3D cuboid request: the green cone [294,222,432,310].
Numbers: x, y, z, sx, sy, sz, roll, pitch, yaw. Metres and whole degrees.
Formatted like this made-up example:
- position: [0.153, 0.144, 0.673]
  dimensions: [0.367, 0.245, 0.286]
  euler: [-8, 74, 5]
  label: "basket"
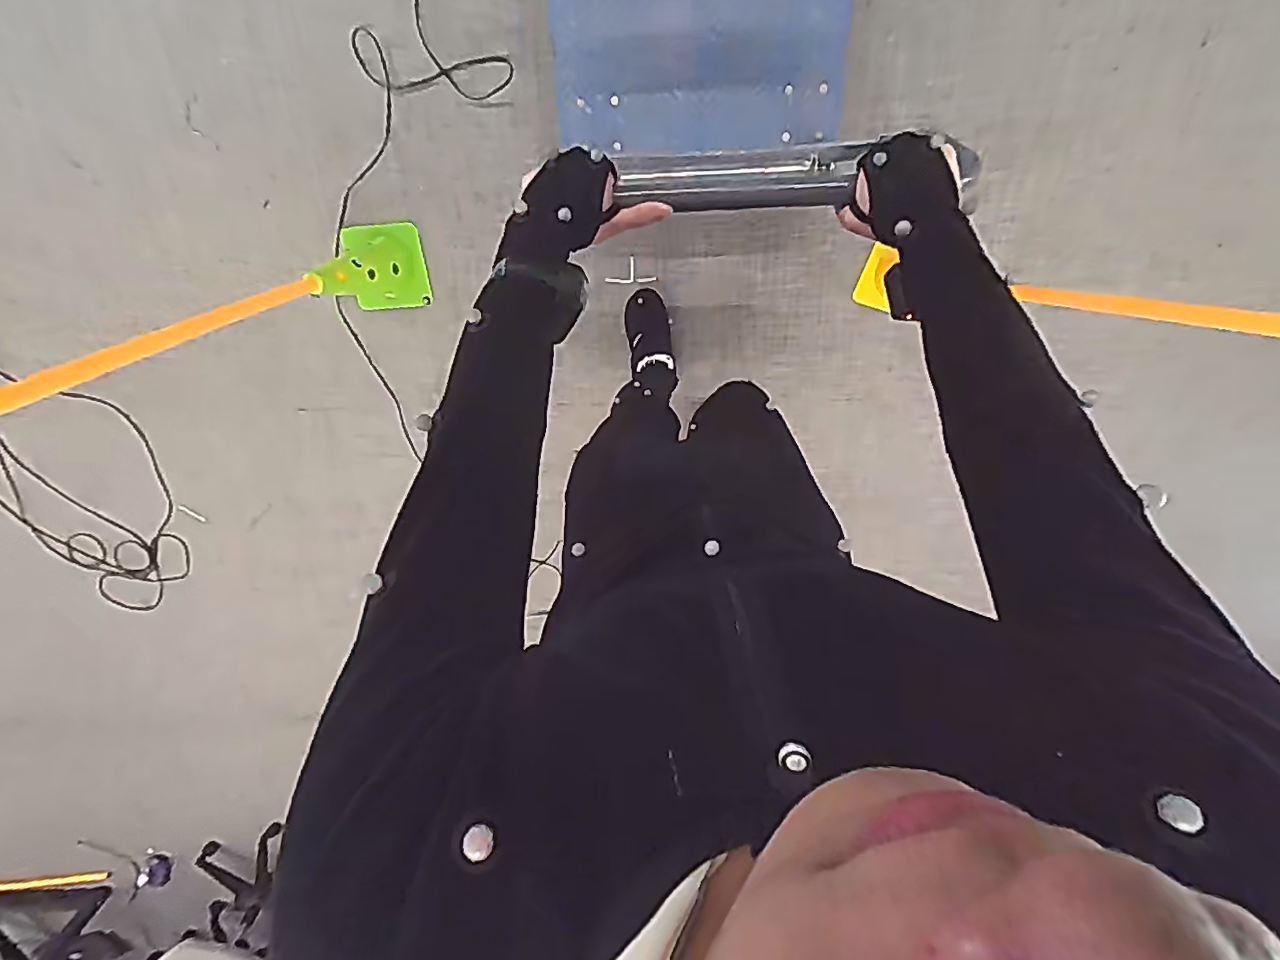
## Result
- position: [-0.650, -0.468, 1.221]
  dimensions: [0.202, 0.368, 0.200]
  euler: [-4, 115, 4]
  label: "green cone"
